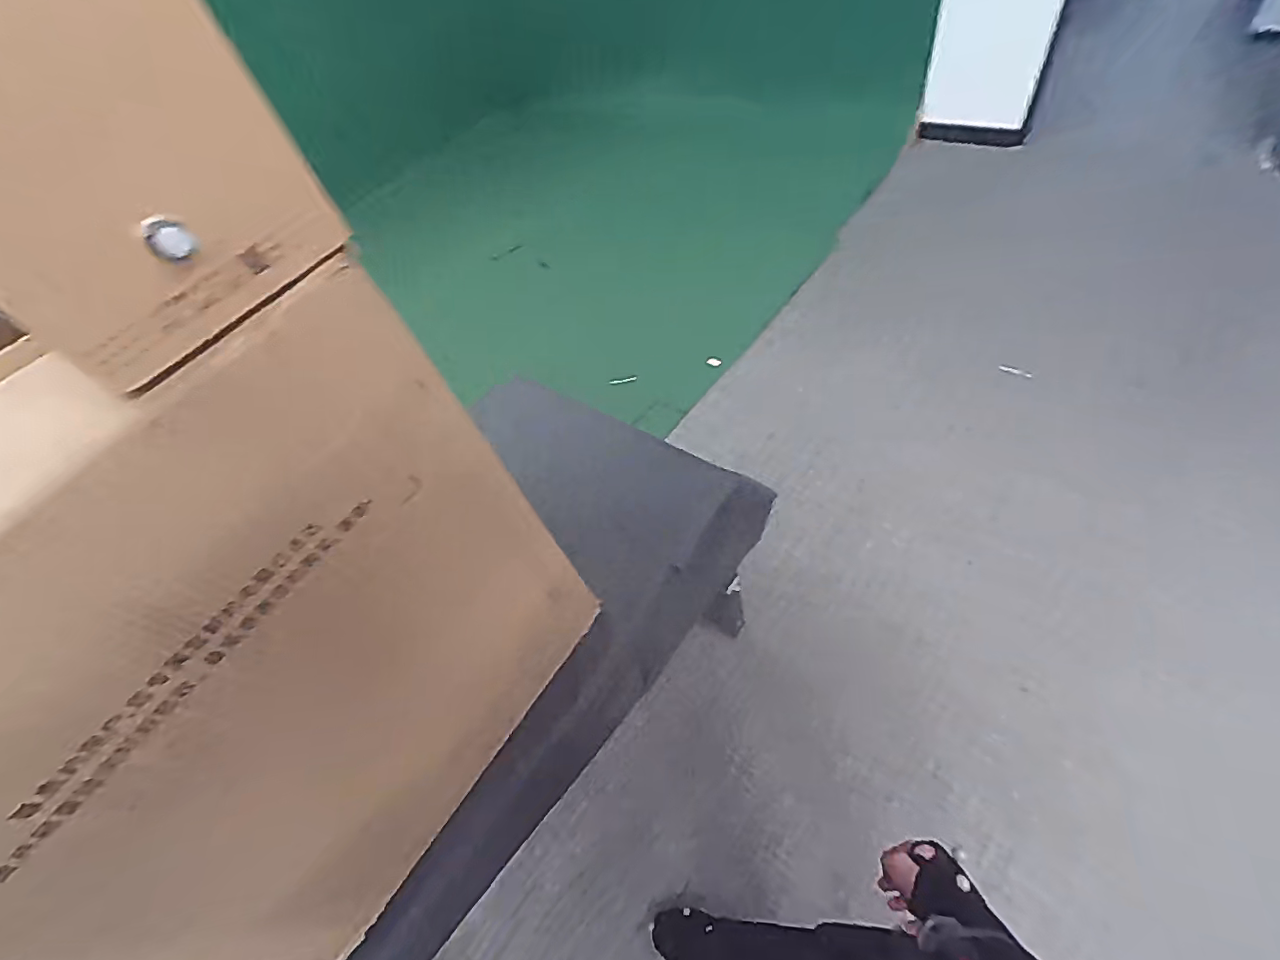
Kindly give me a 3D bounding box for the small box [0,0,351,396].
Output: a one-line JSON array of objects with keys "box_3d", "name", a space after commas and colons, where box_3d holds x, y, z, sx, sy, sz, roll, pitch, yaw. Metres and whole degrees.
[{"box_3d": [-0.317, -0.175, 0.309, 0.179, 0.176, 0.168, 26, 64, 27], "name": "small box"}]
